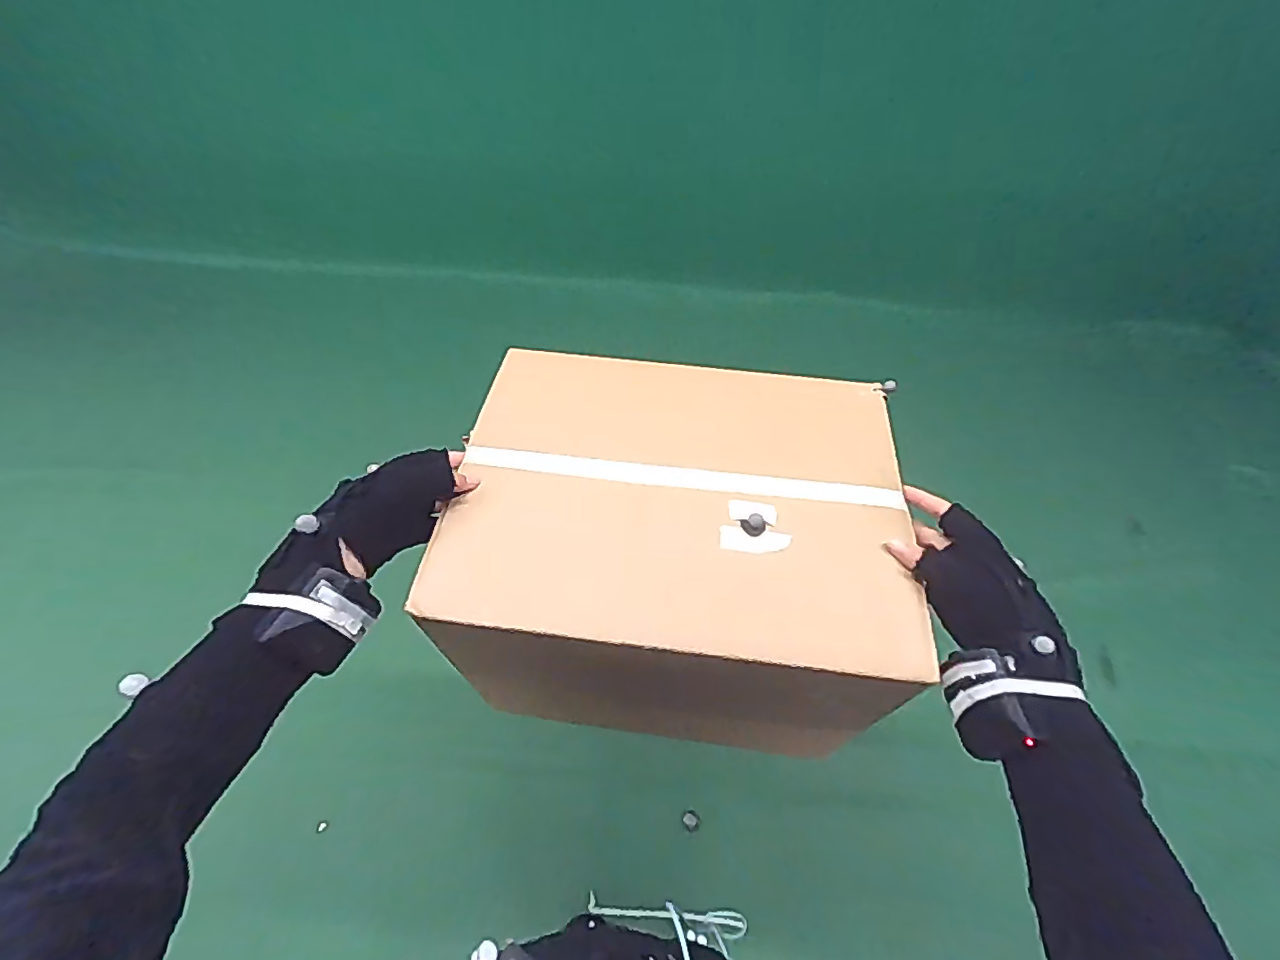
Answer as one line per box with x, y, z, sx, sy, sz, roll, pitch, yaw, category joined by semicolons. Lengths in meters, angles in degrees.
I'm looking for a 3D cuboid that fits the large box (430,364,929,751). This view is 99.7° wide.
0.037;0.098;0.629;0.408;0.320;0.320;7;54;3;large box
